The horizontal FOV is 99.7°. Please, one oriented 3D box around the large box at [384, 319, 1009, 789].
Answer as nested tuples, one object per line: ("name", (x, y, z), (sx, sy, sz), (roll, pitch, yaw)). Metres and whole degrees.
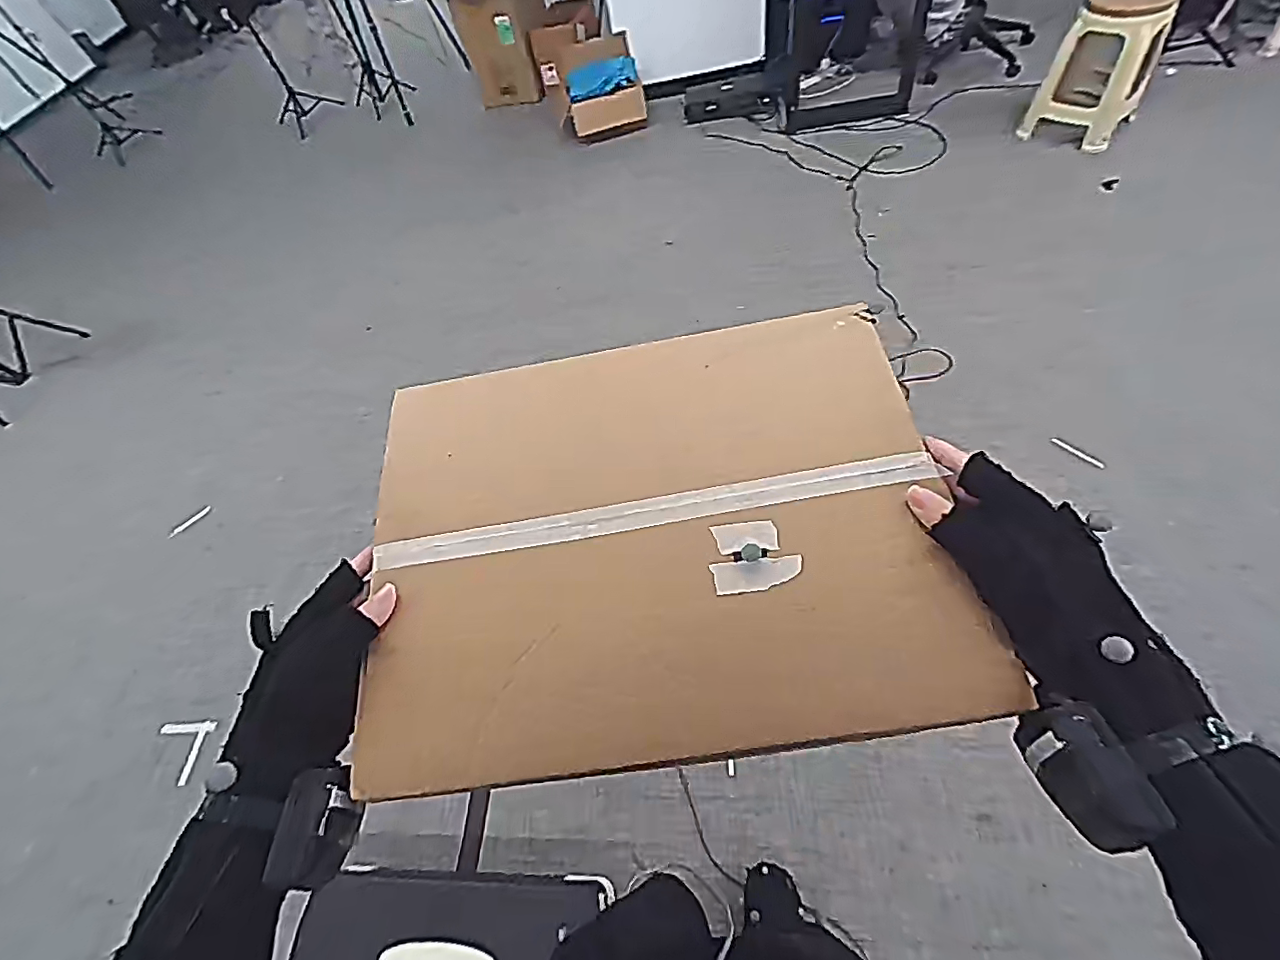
("large box", (0.028, 0.096, 0.534), (0.408, 0.320, 0.320), (-10, 62, 3))
